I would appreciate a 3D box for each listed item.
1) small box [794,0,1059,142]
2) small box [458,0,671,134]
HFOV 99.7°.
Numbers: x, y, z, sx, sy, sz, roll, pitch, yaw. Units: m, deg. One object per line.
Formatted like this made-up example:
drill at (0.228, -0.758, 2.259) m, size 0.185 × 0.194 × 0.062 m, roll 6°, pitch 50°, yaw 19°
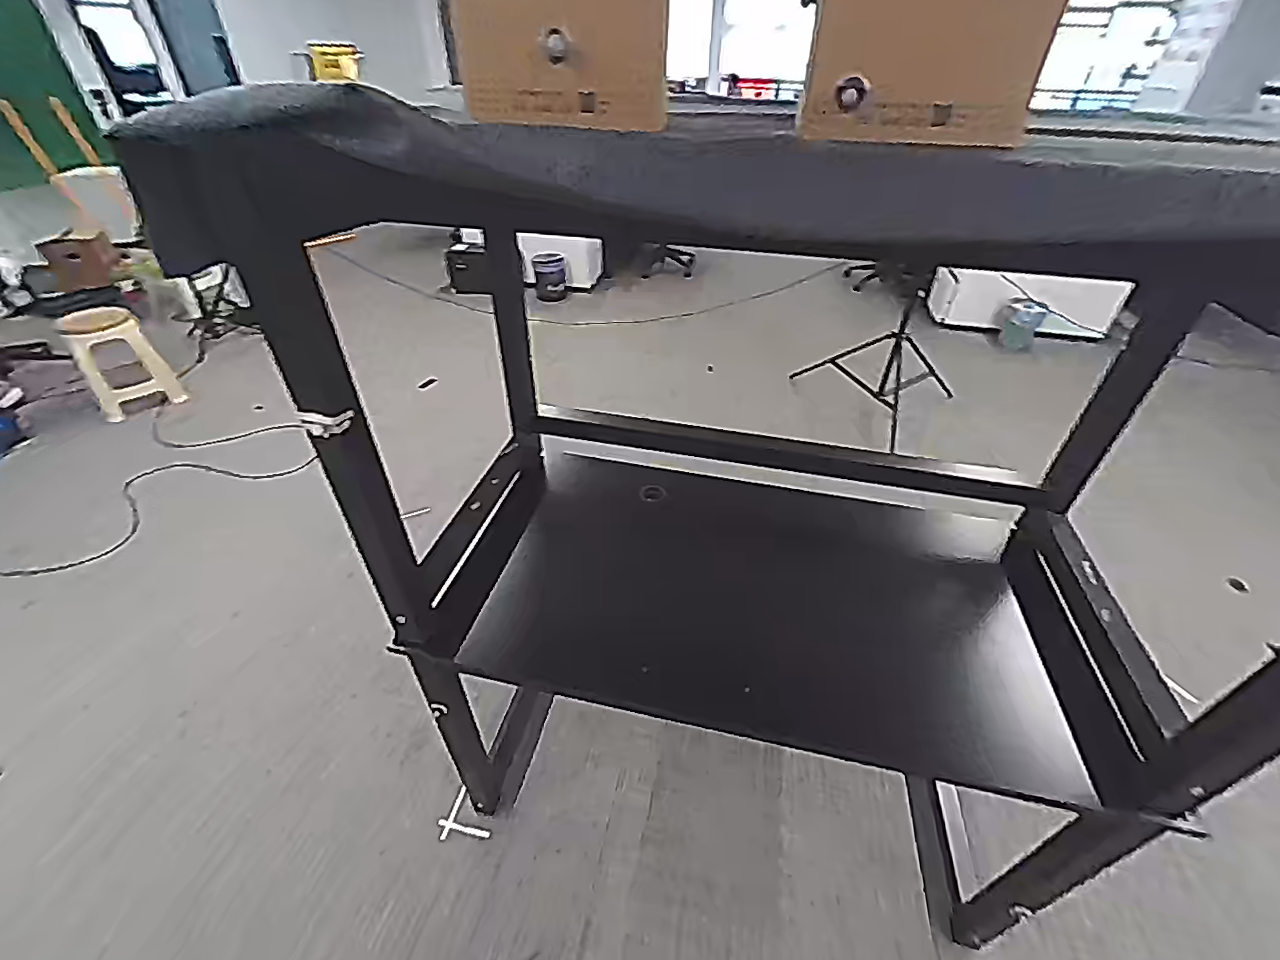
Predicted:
small box at (0.226, -0.383, 0.444) m, size 0.168 × 0.176 × 0.179 m, roll 8°, pitch 37°, yaw 9°
small box at (-0.057, -0.412, 0.471) m, size 0.168 × 0.176 × 0.179 m, roll 3°, pitch 37°, yaw 3°
